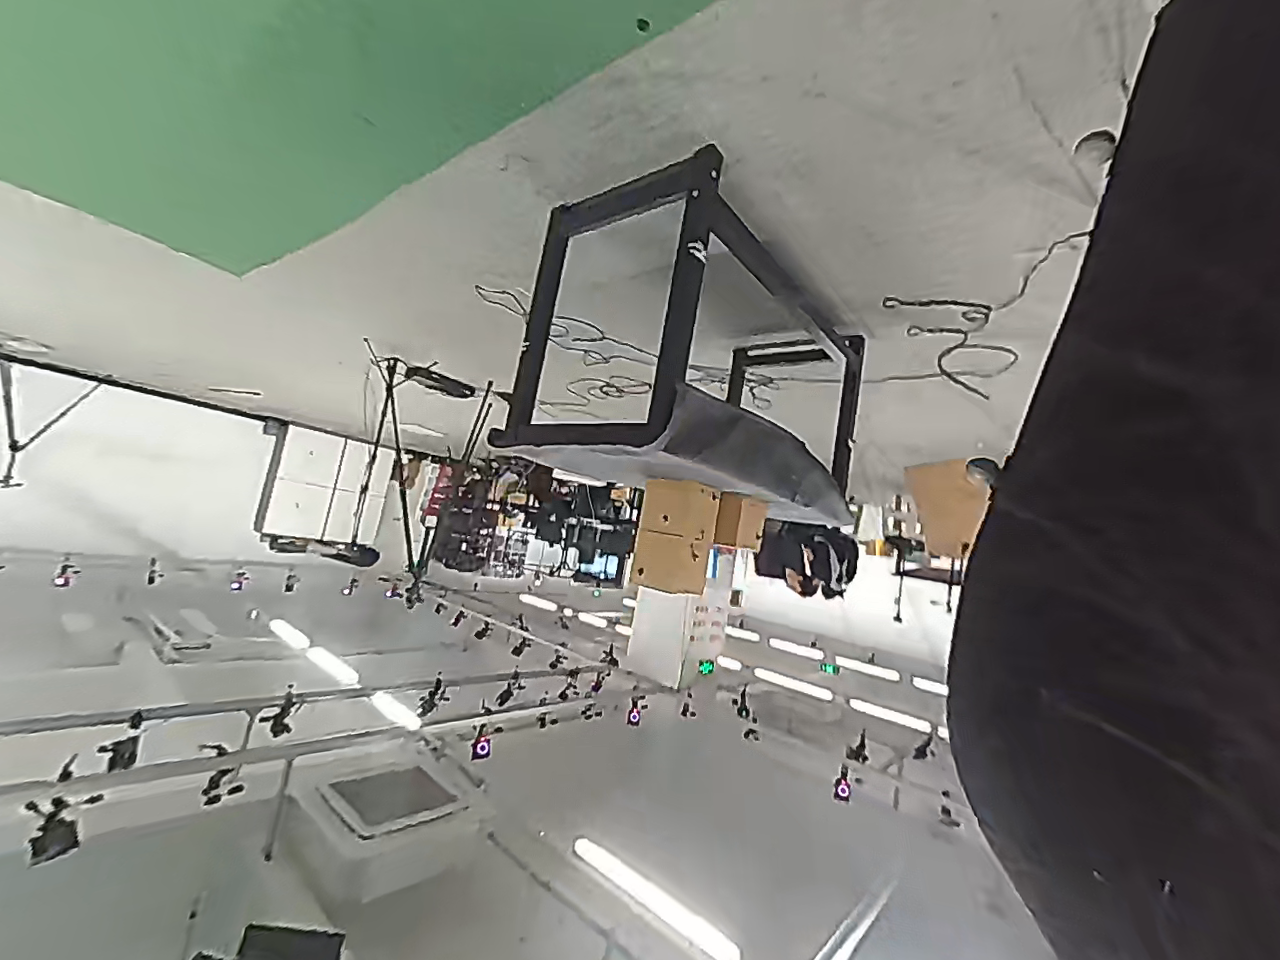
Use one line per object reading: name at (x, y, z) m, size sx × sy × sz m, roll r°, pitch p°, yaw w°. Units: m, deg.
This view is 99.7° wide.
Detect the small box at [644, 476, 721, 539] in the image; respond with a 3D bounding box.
small box at (0.137, 0.083, 1.679) m, size 0.179 × 0.176 × 0.168 m, roll 5°, pitch 172°, yaw 42°

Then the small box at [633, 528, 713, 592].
small box at (0.106, 0.245, 1.681) m, size 0.179 × 0.176 × 0.168 m, roll 4°, pitch 172°, yaw 43°
